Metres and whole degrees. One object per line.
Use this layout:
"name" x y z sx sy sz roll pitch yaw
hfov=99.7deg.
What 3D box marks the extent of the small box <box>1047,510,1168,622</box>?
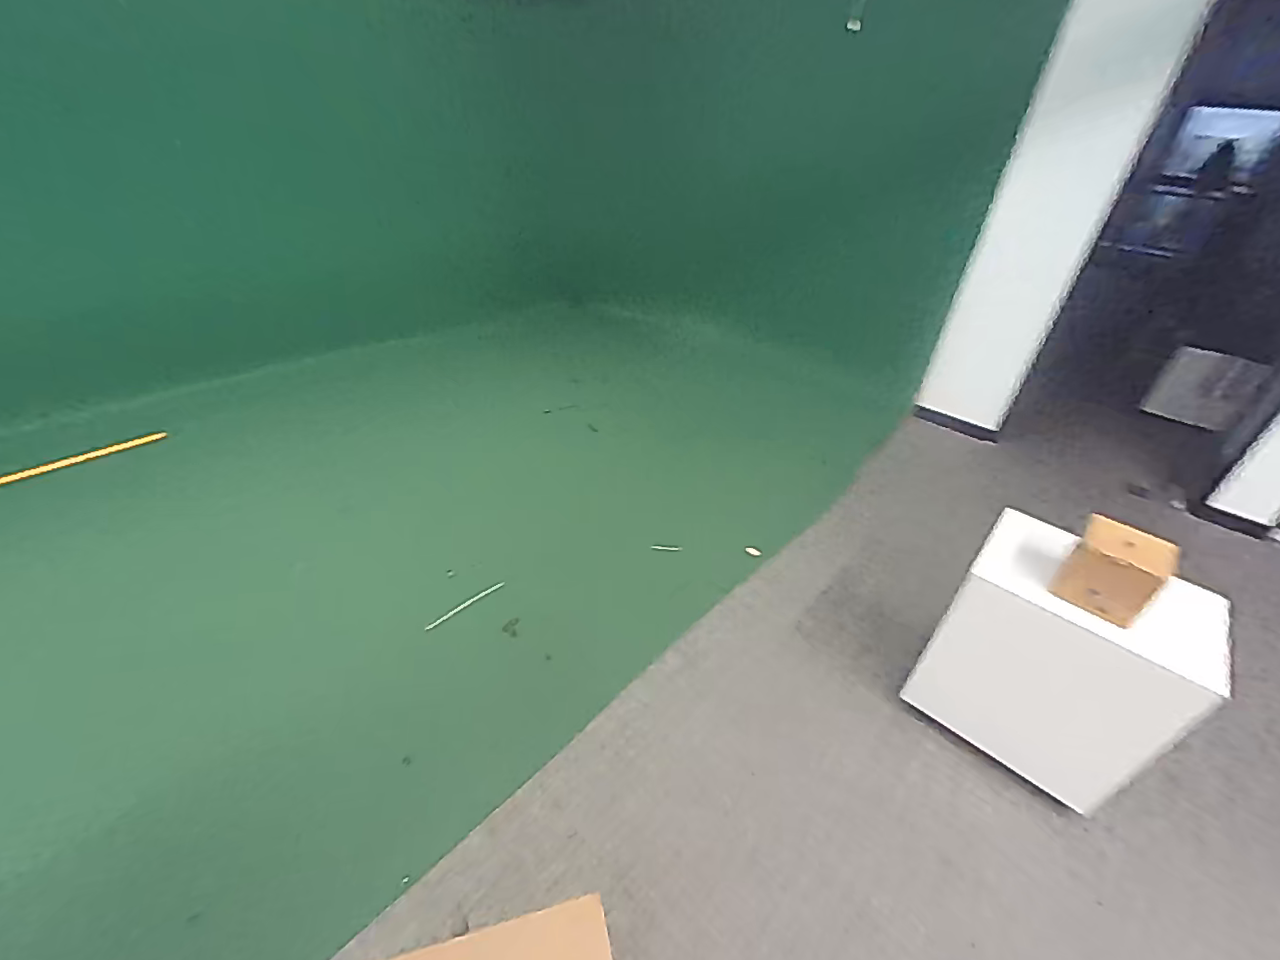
"small box" 1.136 0.208 1.321 0.168 0.176 0.179 29 41 31
